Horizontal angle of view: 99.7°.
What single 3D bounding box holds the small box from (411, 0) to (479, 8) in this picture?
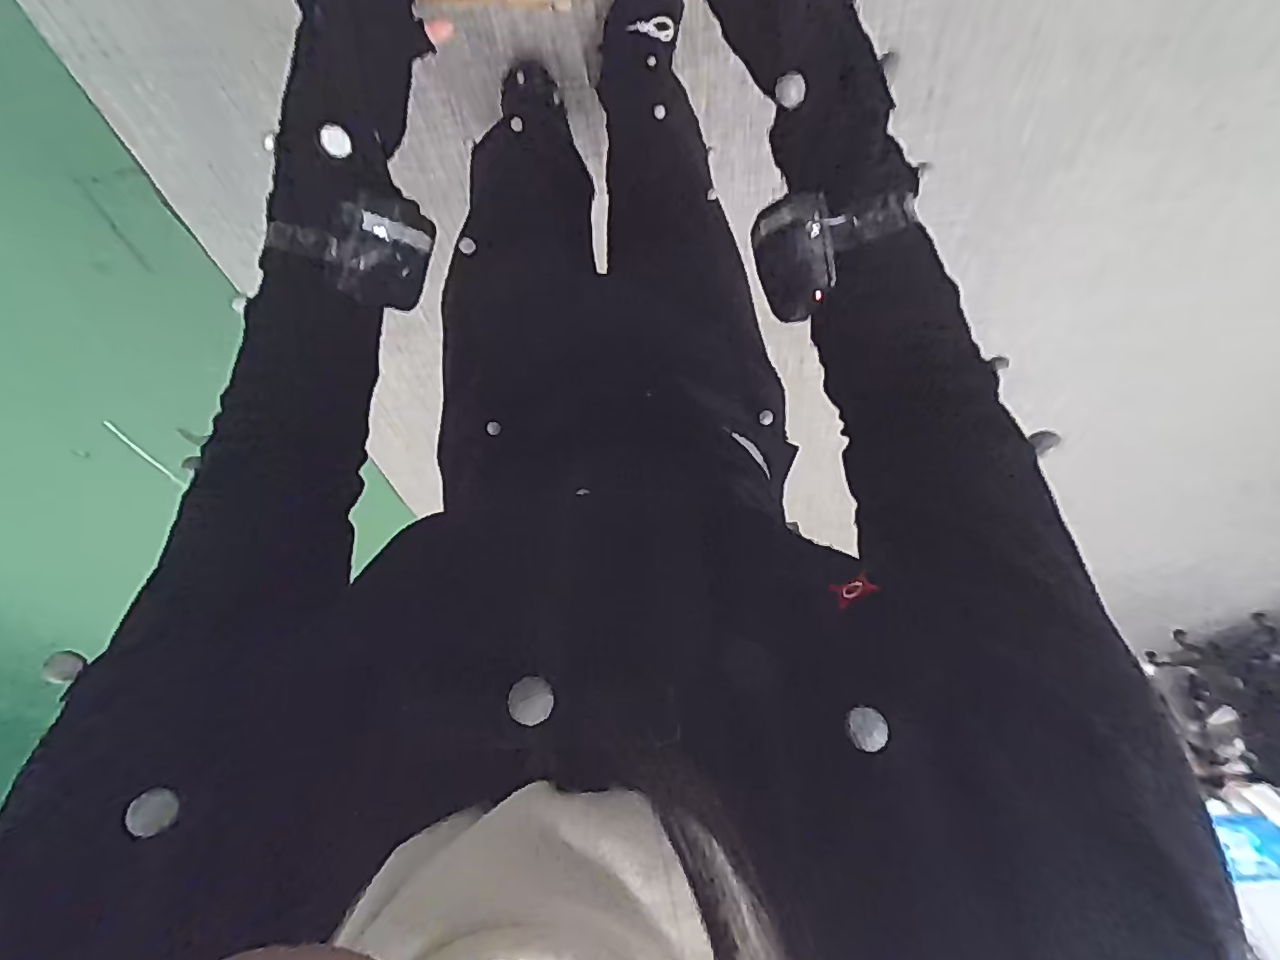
[{"bbox_3d":[-0.073,-0.417,0.329,0.168,0.176,0.179,-6,131,5],"label":"small box"}]
